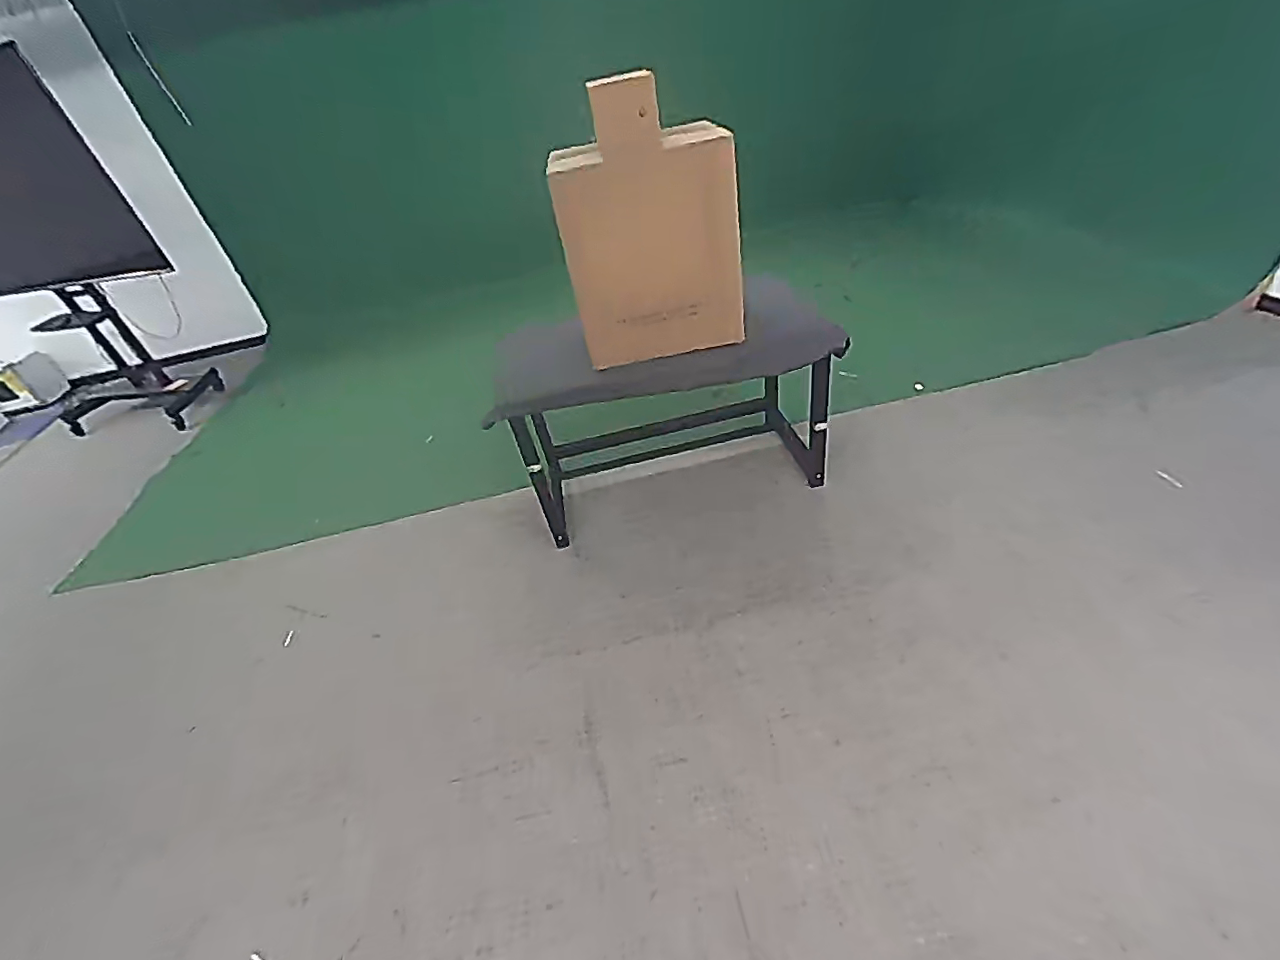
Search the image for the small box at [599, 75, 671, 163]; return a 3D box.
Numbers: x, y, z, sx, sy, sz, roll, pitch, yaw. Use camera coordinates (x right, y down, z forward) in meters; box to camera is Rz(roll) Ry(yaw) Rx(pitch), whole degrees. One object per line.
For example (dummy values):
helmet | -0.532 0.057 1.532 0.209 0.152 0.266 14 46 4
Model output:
small box | -0.011 -1.024 1.535 0.179 0.176 0.168 -12 39 2
